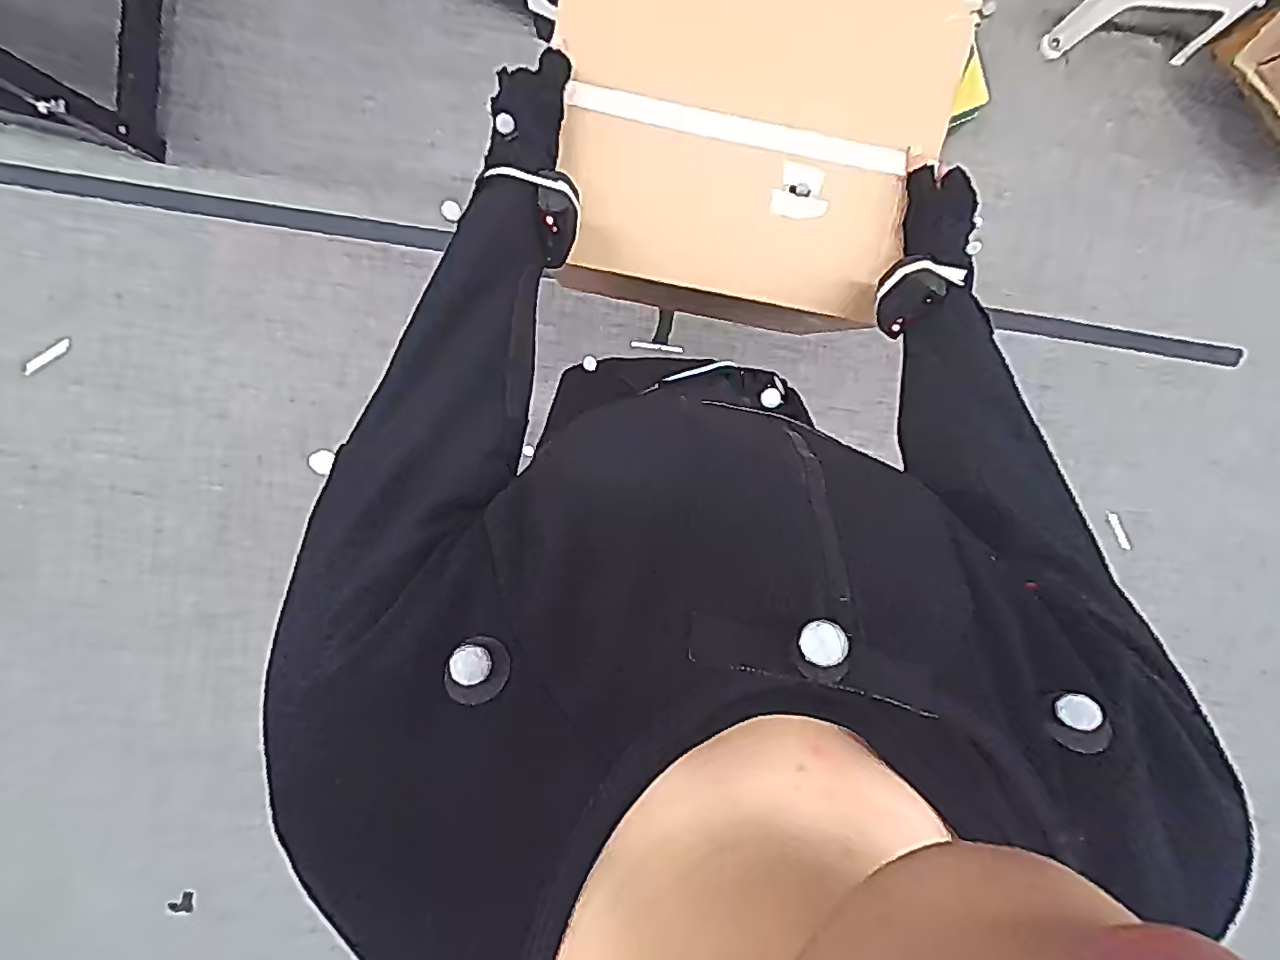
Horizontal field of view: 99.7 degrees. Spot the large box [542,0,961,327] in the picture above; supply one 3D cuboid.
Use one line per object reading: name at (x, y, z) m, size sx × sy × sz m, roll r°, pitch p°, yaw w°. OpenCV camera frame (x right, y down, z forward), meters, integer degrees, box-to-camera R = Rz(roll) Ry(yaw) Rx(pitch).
large box at (0.102, -0.394, 0.712) m, size 0.408 × 0.320 × 0.320 m, roll 9°, pitch 104°, yaw -5°
